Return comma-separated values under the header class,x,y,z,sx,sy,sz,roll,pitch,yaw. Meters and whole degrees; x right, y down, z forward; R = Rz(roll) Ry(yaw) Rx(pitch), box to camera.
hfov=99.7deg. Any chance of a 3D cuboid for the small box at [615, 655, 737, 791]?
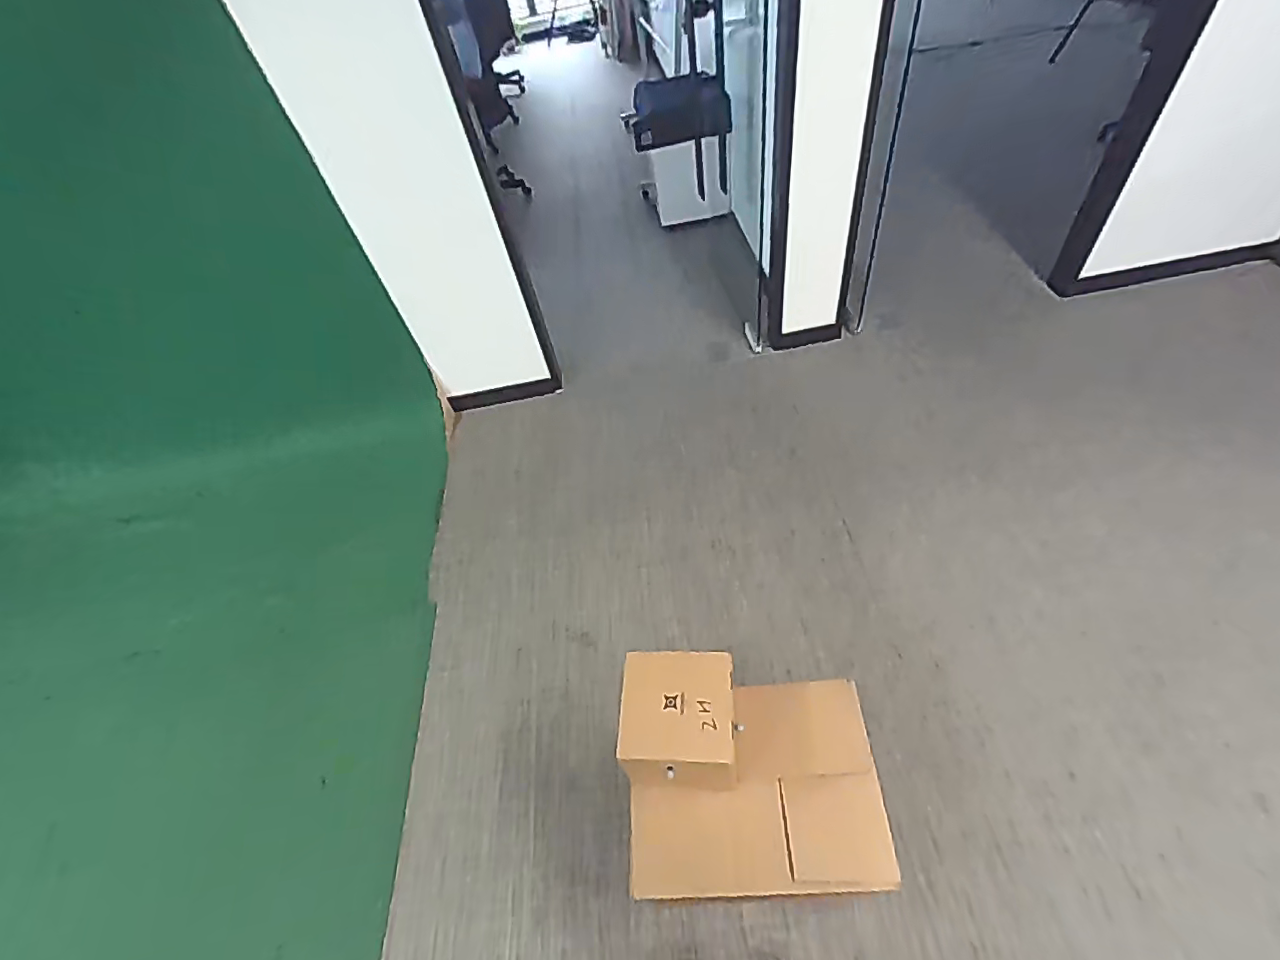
class,x,y,z,sx,sy,sz,roll,pitch,yaw
small box,0.068,0.402,0.894,0.179,0.176,0.168,-2,49,9
